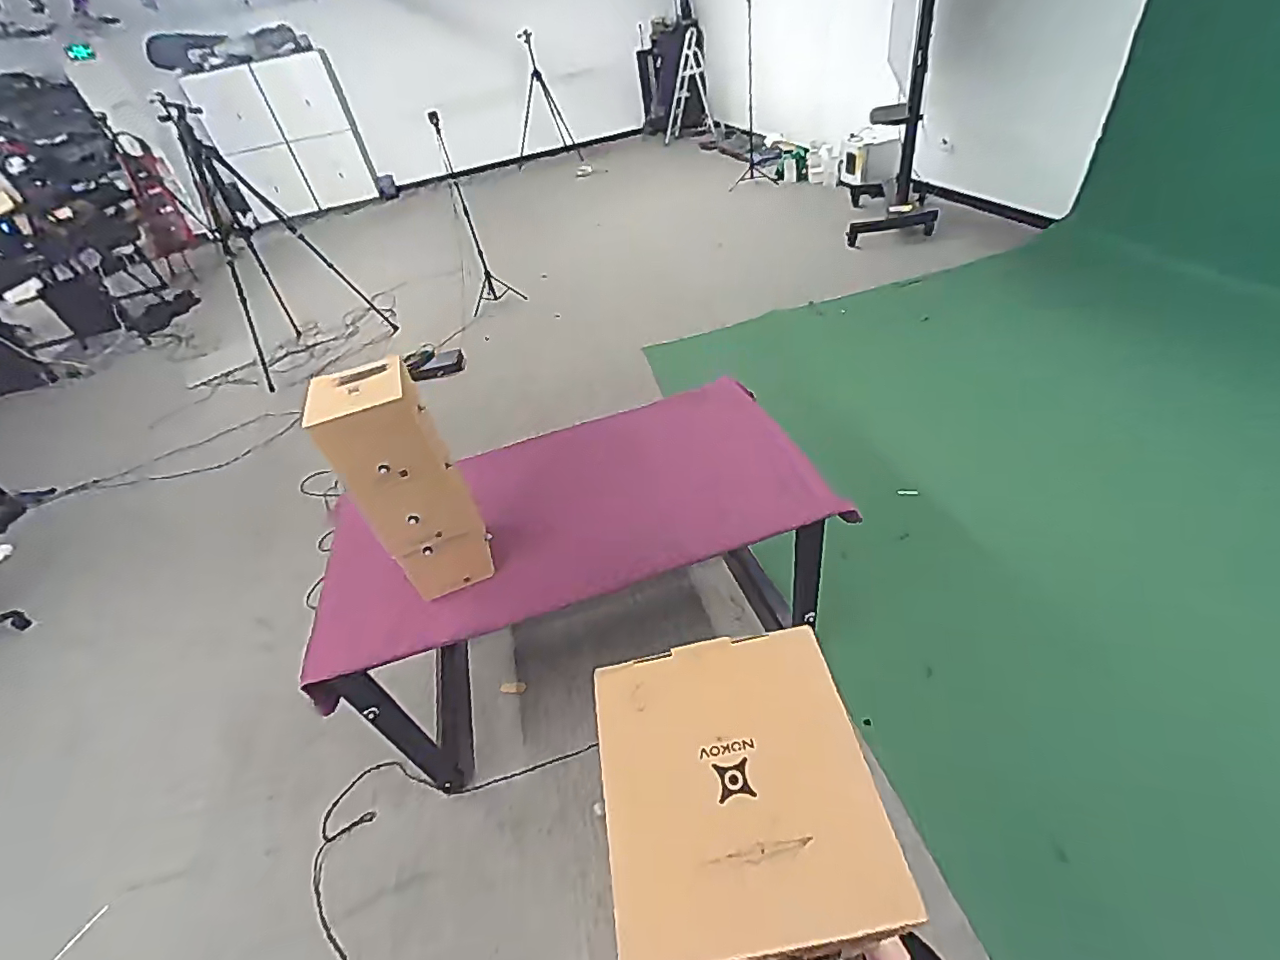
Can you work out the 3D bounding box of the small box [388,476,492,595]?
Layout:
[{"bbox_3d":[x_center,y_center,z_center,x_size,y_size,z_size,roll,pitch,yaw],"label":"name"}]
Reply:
[{"bbox_3d":[-0.448,0.124,1.217,0.168,0.176,0.179,-21,41,-10],"label":"small box"}]

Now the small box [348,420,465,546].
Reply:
[{"bbox_3d":[-0.466,0.012,1.096,0.168,0.176,0.179,-19,41,-10],"label":"small box"}]

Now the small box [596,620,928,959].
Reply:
[{"bbox_3d":[0.067,0.230,0.390,0.168,0.176,0.179,-11,47,1],"label":"small box"}]
